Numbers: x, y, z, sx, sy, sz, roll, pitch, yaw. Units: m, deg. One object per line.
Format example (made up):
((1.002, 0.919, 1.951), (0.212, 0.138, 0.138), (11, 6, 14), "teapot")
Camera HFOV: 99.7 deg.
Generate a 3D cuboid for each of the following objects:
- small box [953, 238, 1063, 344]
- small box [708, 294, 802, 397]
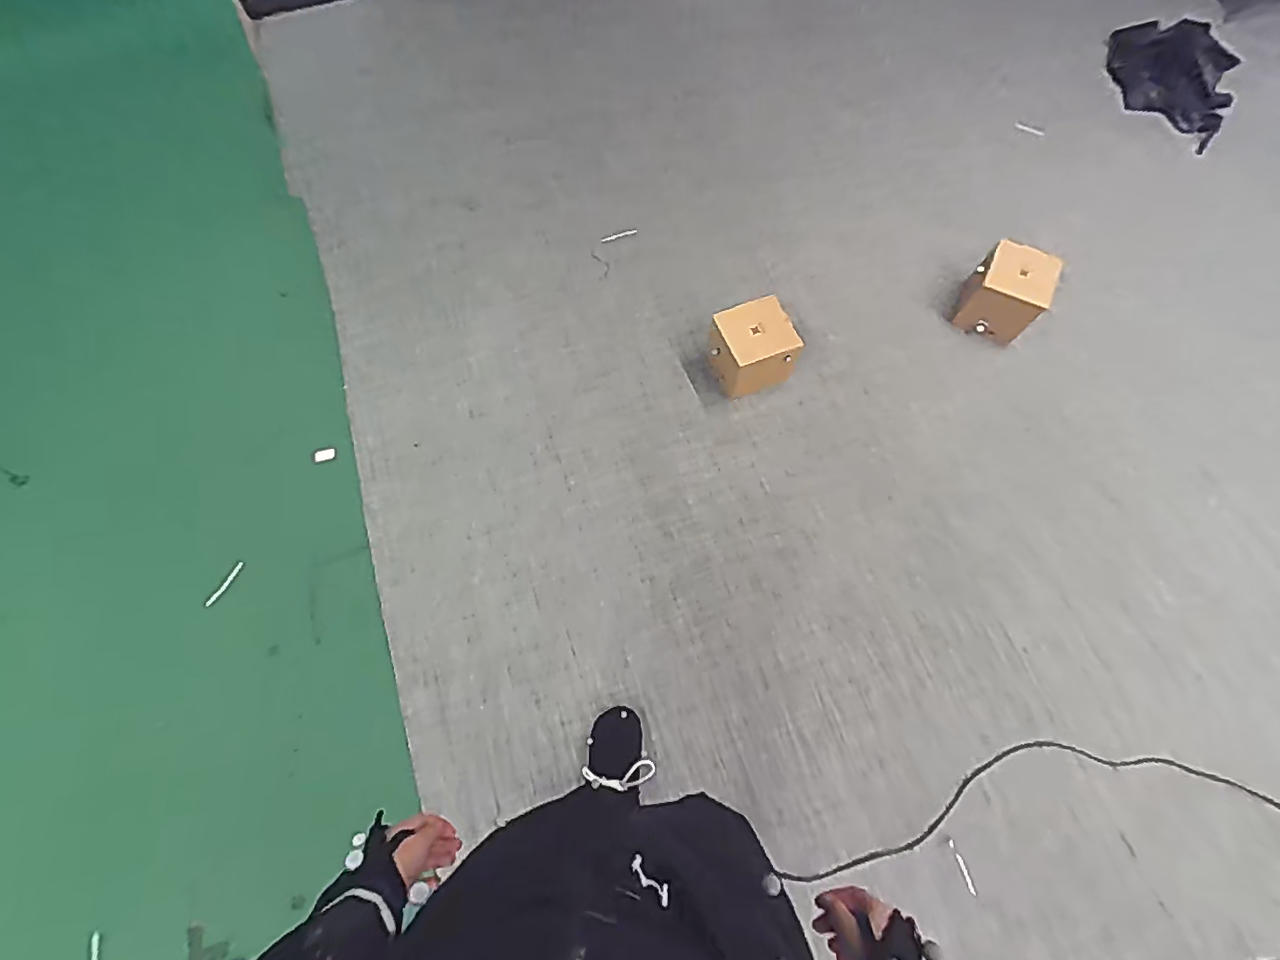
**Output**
((0.980, -0.503, 1.453), (0.168, 0.176, 0.179), (25, 73, 10), "small box")
((0.285, -0.340, 1.396), (0.179, 0.176, 0.168), (-21, 71, -8), "small box")
